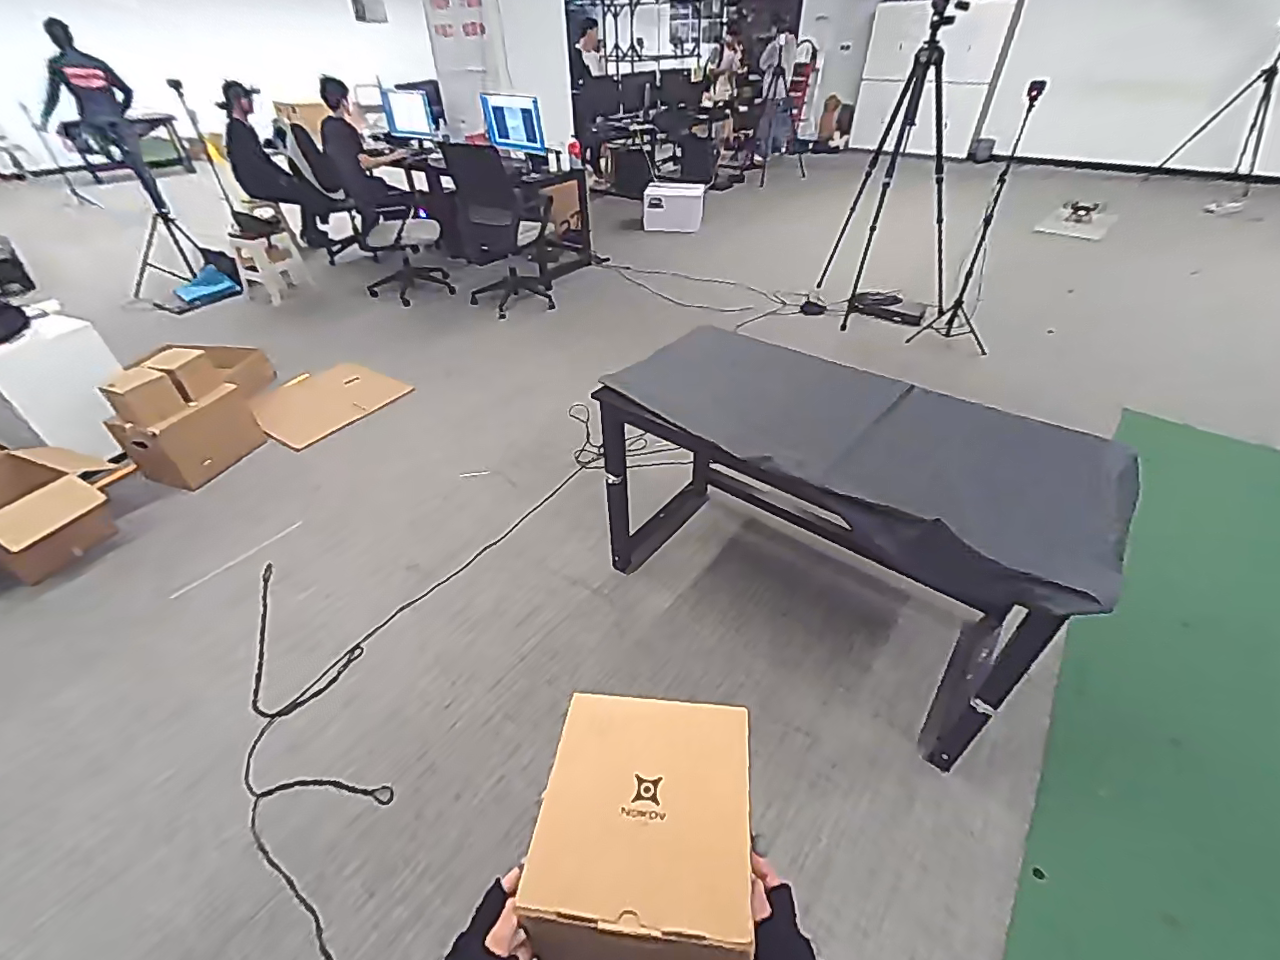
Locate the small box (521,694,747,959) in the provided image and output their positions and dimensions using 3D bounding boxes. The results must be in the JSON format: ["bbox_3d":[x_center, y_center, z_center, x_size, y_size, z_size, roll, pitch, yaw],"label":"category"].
[{"bbox_3d":[0.008,0.327,0.491,0.168,0.176,0.179,2,35,9],"label":"small box"}]
